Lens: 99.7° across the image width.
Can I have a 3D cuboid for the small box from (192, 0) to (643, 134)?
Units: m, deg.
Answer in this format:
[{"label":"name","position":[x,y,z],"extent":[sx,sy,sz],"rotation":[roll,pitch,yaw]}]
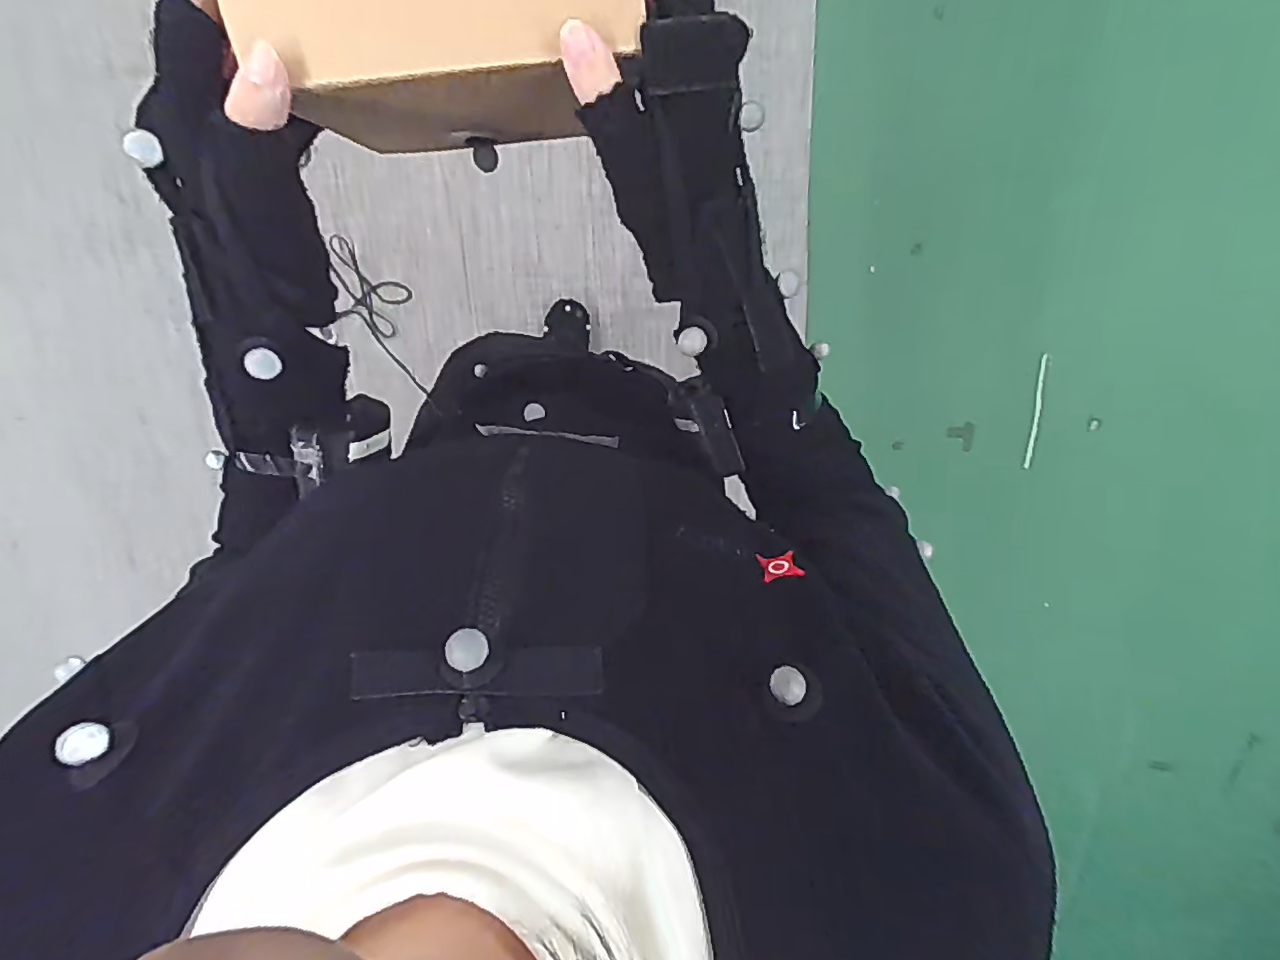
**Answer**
[{"label":"small box","position":[-0.094,-0.280,0.243],"extent":[0.168,0.176,0.179],"rotation":[-7,114,-2]}]
